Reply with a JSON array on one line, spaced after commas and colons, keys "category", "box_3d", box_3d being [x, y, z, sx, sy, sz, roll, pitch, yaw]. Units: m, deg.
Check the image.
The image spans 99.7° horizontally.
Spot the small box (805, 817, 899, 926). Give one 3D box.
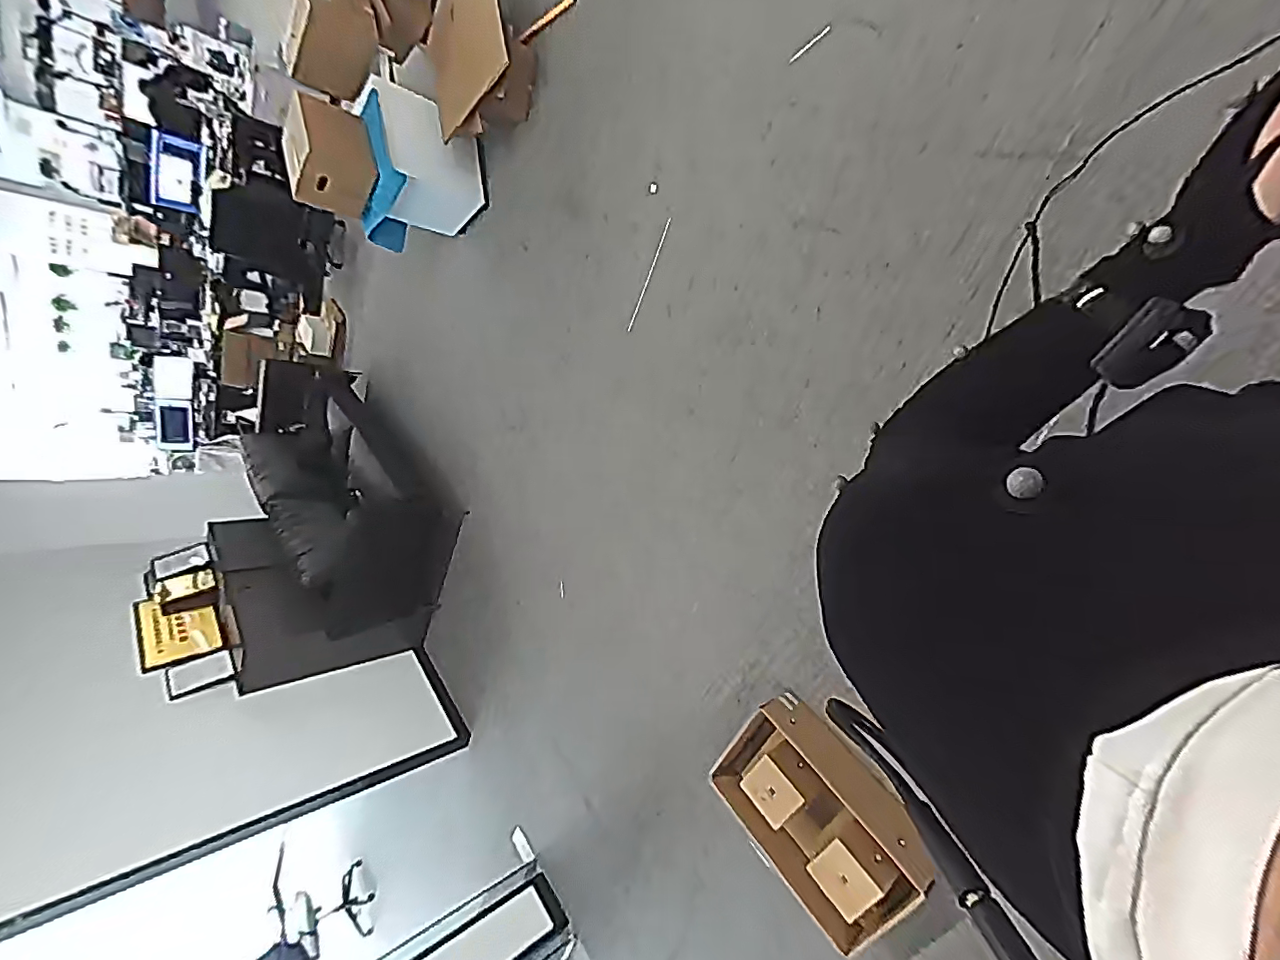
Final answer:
[{"category": "small box", "box_3d": [0.627, 1.137, 1.585, 0.168, 0.176, 0.179, 44, 122, 34]}]

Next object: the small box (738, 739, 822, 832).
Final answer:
[{"category": "small box", "box_3d": [0.458, 0.975, 1.743, 0.168, 0.176, 0.179, 45, 121, 33]}]
